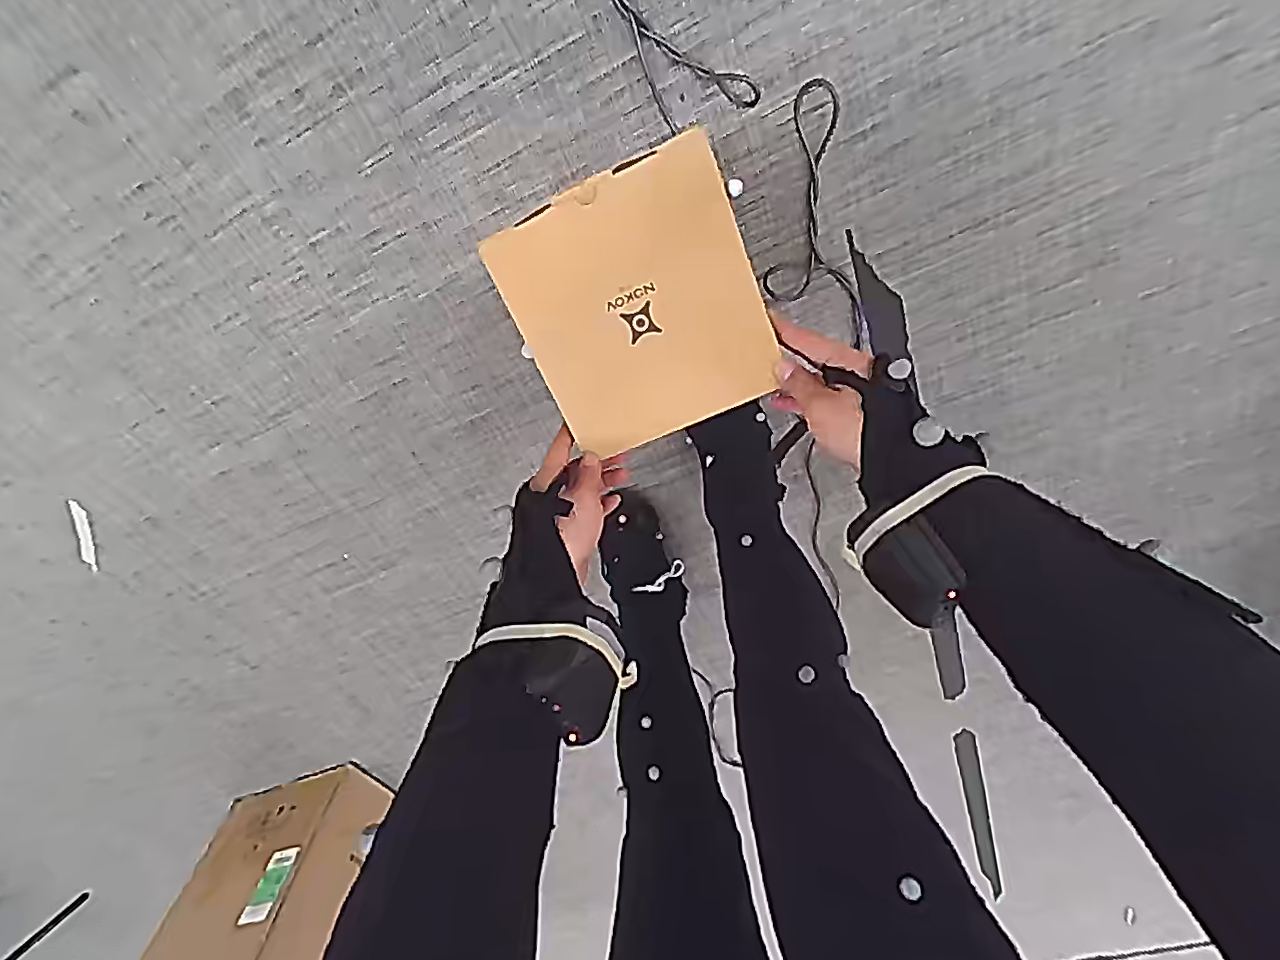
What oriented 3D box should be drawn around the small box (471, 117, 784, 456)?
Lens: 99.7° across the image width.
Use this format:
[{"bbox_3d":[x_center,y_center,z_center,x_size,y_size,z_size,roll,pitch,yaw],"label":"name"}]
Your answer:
[{"bbox_3d":[0.002,-0.149,0.440,0.168,0.176,0.179,-22,110,13],"label":"small box"}]
